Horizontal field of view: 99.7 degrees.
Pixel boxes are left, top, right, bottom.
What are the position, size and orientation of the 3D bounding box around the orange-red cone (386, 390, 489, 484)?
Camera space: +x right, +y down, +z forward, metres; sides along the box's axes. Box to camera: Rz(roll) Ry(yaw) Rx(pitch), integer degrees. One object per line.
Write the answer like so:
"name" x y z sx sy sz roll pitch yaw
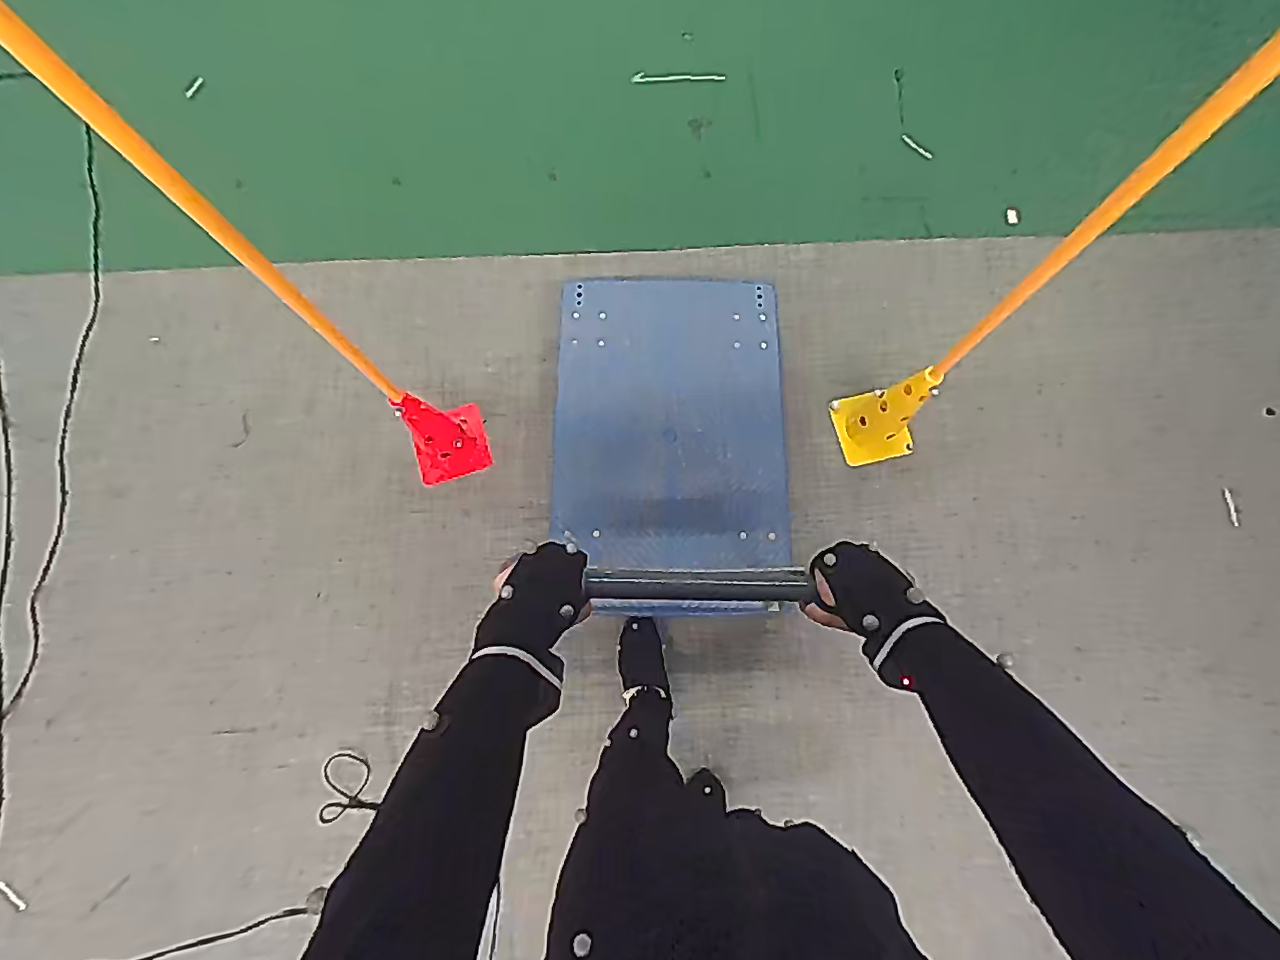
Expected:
"orange-red cone" -0.534 -0.137 1.347 0.199 0.360 0.198 -17 77 -3
